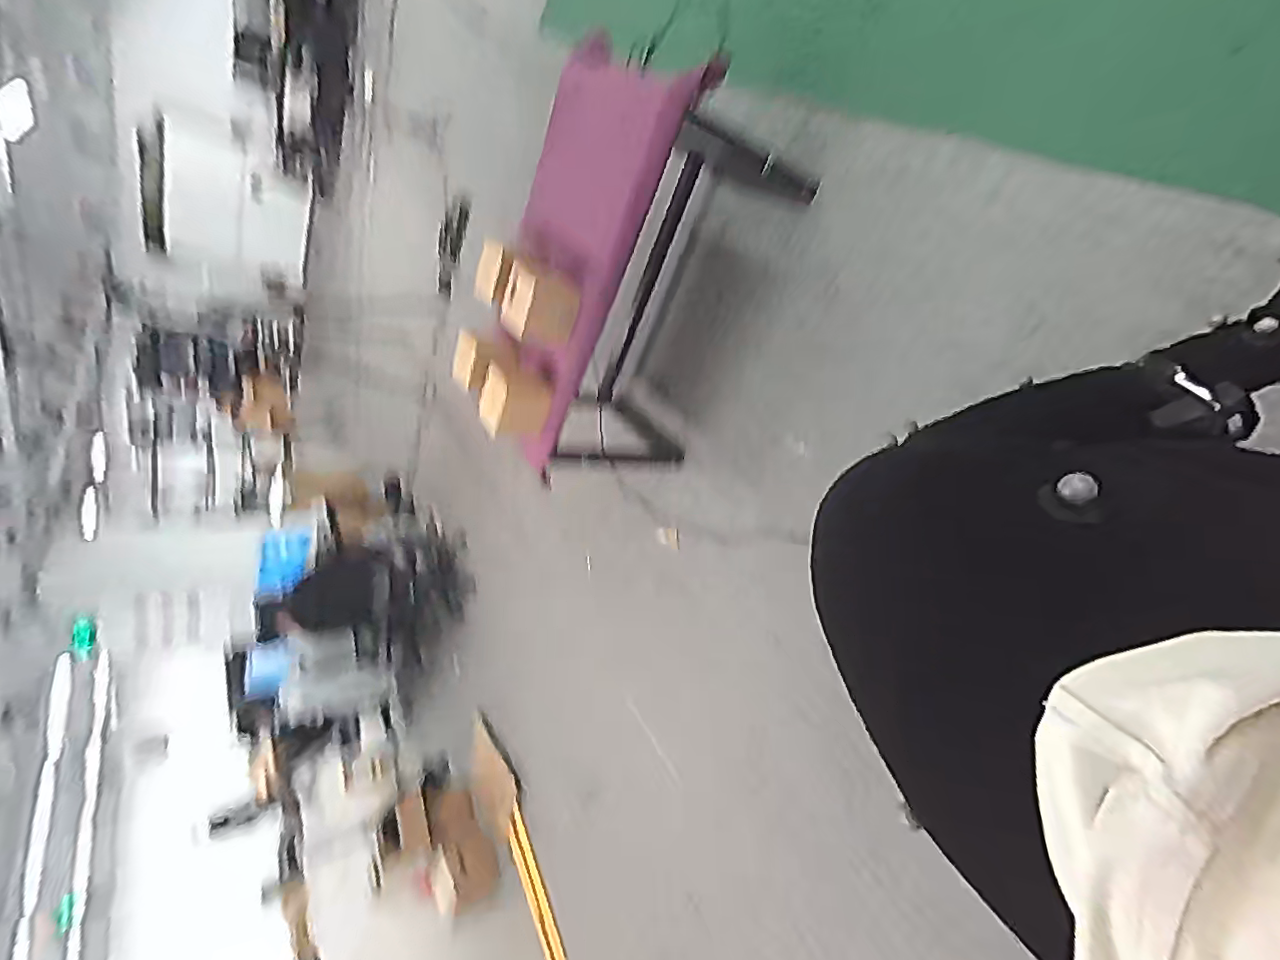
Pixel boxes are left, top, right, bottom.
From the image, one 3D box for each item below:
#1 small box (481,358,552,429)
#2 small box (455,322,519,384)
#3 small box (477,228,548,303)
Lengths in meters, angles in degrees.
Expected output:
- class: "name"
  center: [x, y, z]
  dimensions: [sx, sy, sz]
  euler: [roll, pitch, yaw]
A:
- class: "small box"
  center: [-0.418, -0.289, 1.836]
  dimensions: [0.168, 0.176, 0.179]
  euler: [51, 125, 39]
- class: "small box"
  center: [-0.568, -0.462, 2.014]
  dimensions: [0.168, 0.176, 0.179]
  euler: [45, 122, 39]
- class: "small box"
  center: [-0.437, -0.735, 1.865]
  dimensions: [0.168, 0.176, 0.179]
  euler: [48, 125, 39]
